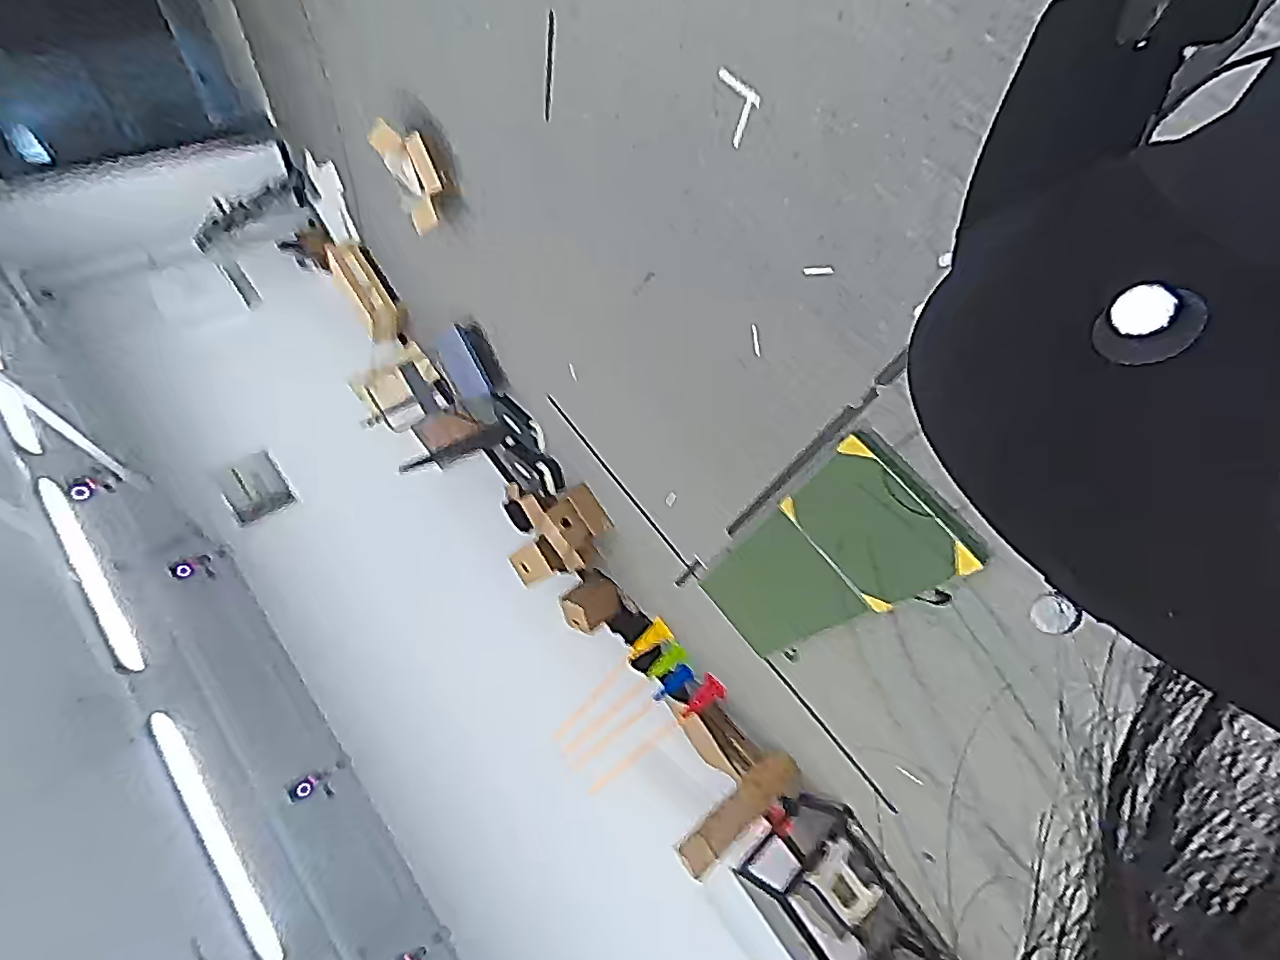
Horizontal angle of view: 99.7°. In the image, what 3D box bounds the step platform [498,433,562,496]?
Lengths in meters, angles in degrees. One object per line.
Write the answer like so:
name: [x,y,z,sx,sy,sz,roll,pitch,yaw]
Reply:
step platform: [-0.952,-0.137,4.625,0.684,0.204,0.286,32,145,38]
